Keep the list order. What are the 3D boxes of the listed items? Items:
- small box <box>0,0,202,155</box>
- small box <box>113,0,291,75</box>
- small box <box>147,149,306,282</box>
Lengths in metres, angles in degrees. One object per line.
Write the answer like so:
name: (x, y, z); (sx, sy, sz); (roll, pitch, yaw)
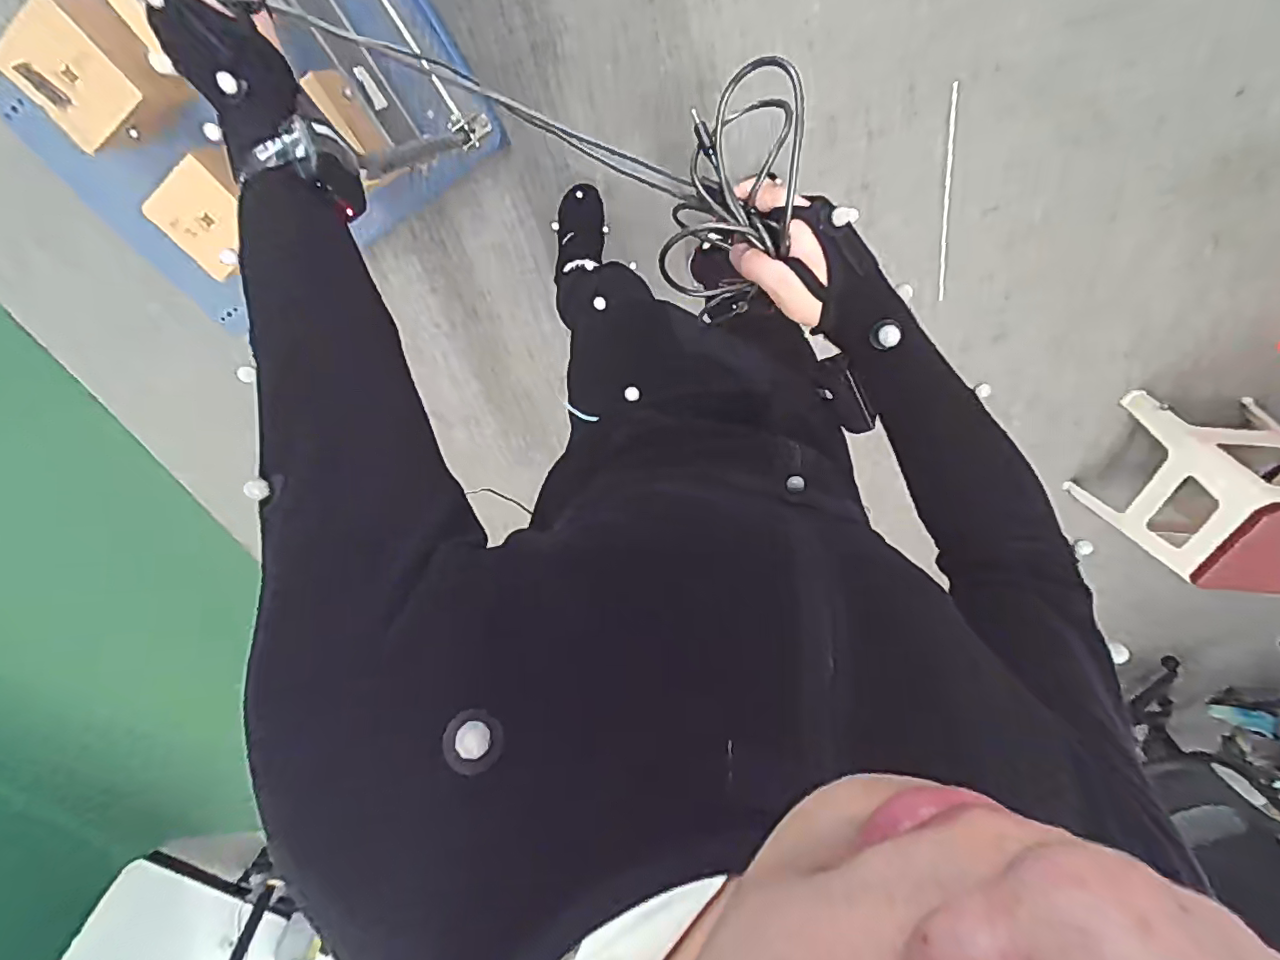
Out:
small box: (-0.954, -0.725, 0.975); (0.179, 0.176, 0.168); (-25, 124, 19)
small box: (-0.737, -0.813, 0.902); (0.179, 0.176, 0.168); (-21, 124, 17)
small box: (-0.830, -0.546, 1.110); (0.179, 0.176, 0.168); (-26, 122, 20)
